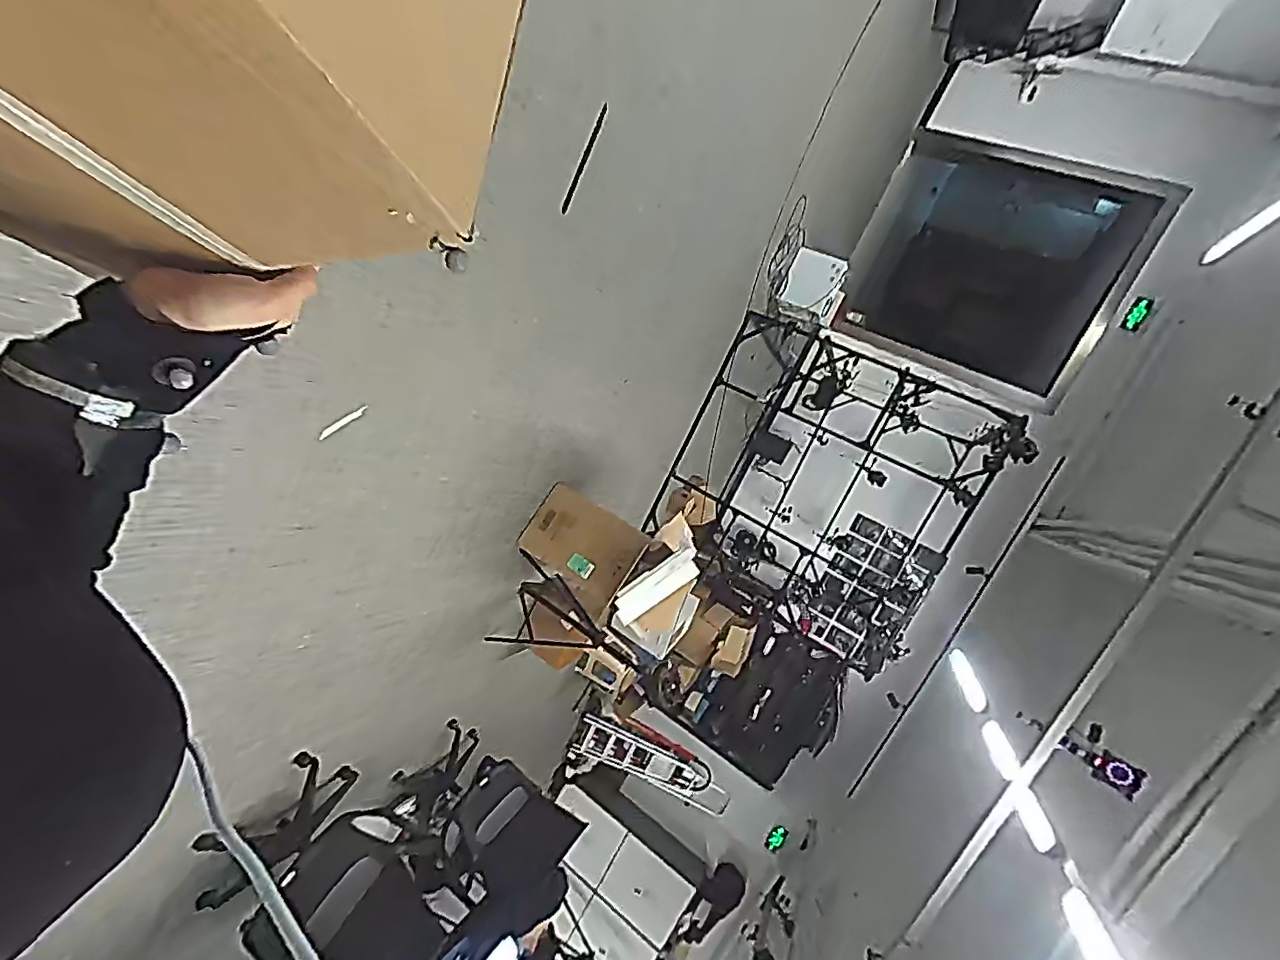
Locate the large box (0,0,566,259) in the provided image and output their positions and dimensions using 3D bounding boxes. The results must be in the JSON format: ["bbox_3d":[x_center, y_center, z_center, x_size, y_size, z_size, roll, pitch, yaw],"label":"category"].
[{"bbox_3d":[-0.245,-0.346,0.190,0.408,0.320,0.320,41,56,-67],"label":"large box"}]
